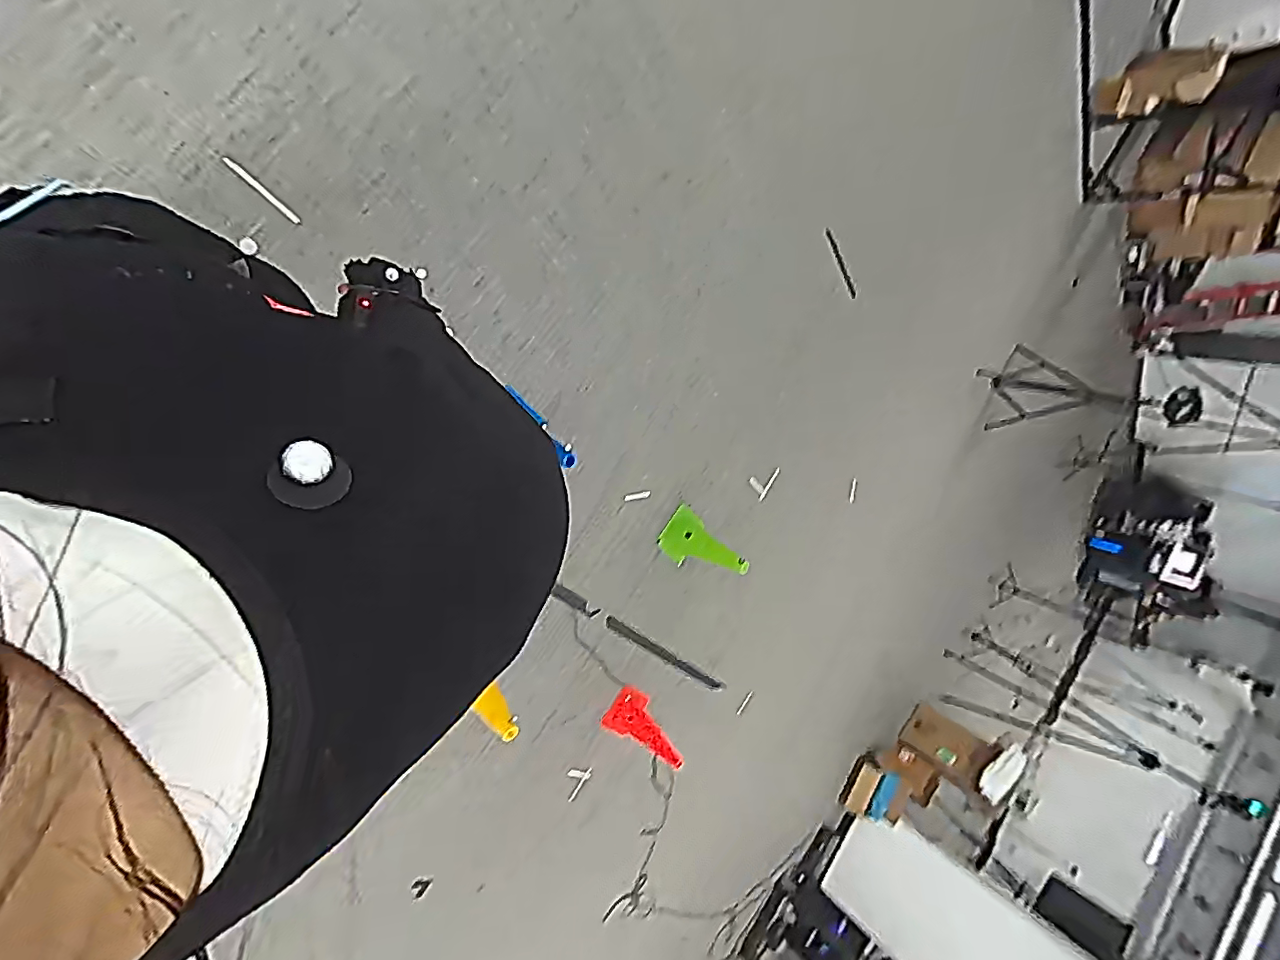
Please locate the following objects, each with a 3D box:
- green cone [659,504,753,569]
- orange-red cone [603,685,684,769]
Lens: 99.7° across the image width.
[{"bbox_3d":[0.282,0.265,2.086,0.202,0.368,0.200,-56,132,-10],"label":"green cone"},{"bbox_3d":[0.048,1.038,2.190,0.199,0.360,0.198,-51,130,-12],"label":"orange-red cone"}]
